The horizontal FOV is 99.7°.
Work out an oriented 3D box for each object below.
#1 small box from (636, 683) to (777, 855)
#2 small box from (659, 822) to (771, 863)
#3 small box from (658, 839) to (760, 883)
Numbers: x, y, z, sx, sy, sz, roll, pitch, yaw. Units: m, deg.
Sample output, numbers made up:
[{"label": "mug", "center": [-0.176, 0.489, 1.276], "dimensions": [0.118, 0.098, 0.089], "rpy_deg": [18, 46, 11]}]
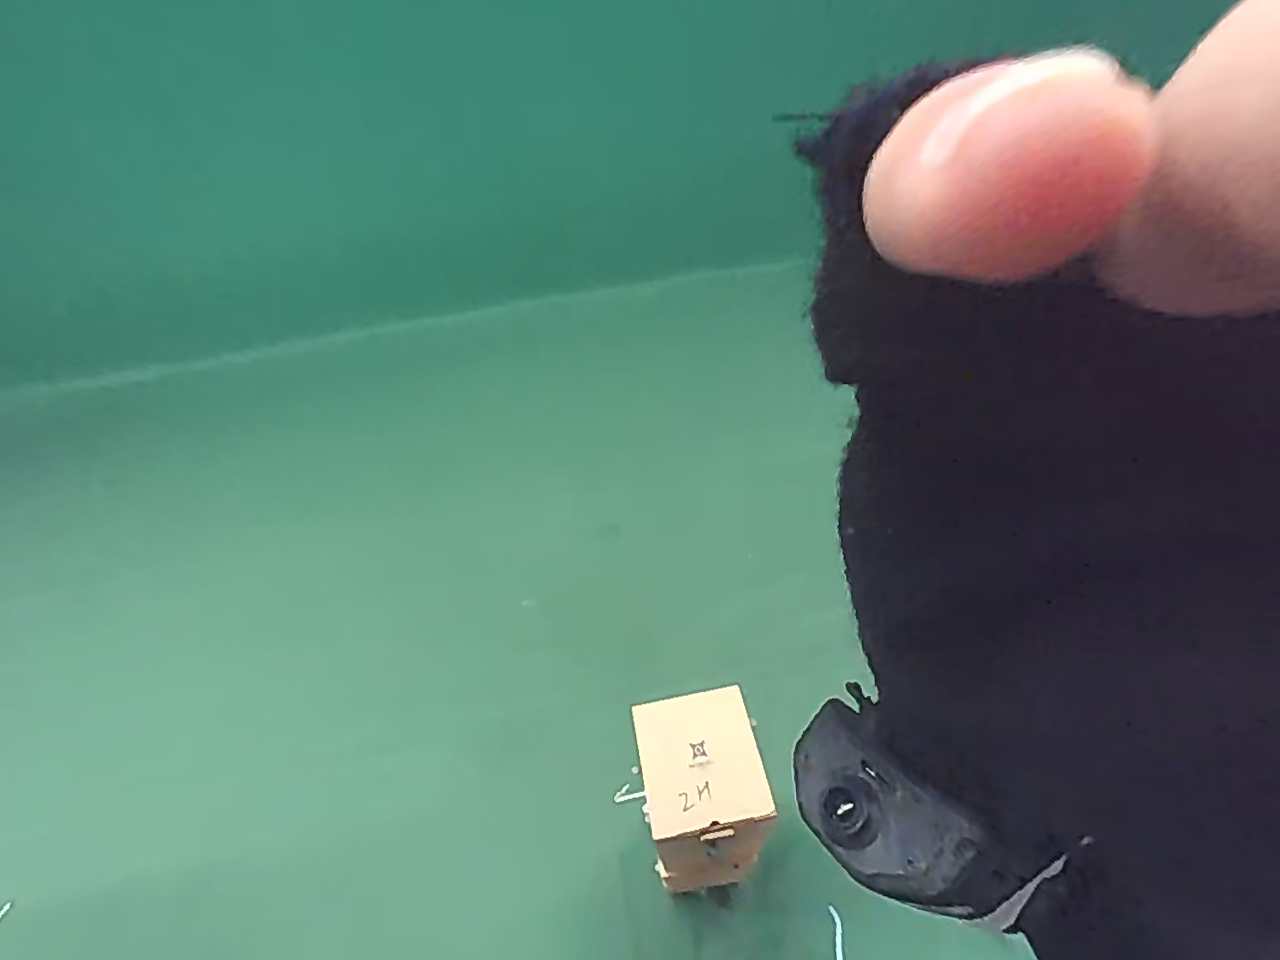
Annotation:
[{"label": "small box", "center": [0.091, 0.434, 0.811], "dimensions": [0.168, 0.176, 0.179], "rpy_deg": [-11, 48, -3]}, {"label": "small box", "center": [0.112, 0.539, 0.934], "dimensions": [0.179, 0.176, 0.168], "rpy_deg": [-9, 46, -2]}, {"label": "small box", "center": [0.122, 0.660, 1.049], "dimensions": [0.179, 0.176, 0.168], "rpy_deg": [-10, 48, -3]}]
